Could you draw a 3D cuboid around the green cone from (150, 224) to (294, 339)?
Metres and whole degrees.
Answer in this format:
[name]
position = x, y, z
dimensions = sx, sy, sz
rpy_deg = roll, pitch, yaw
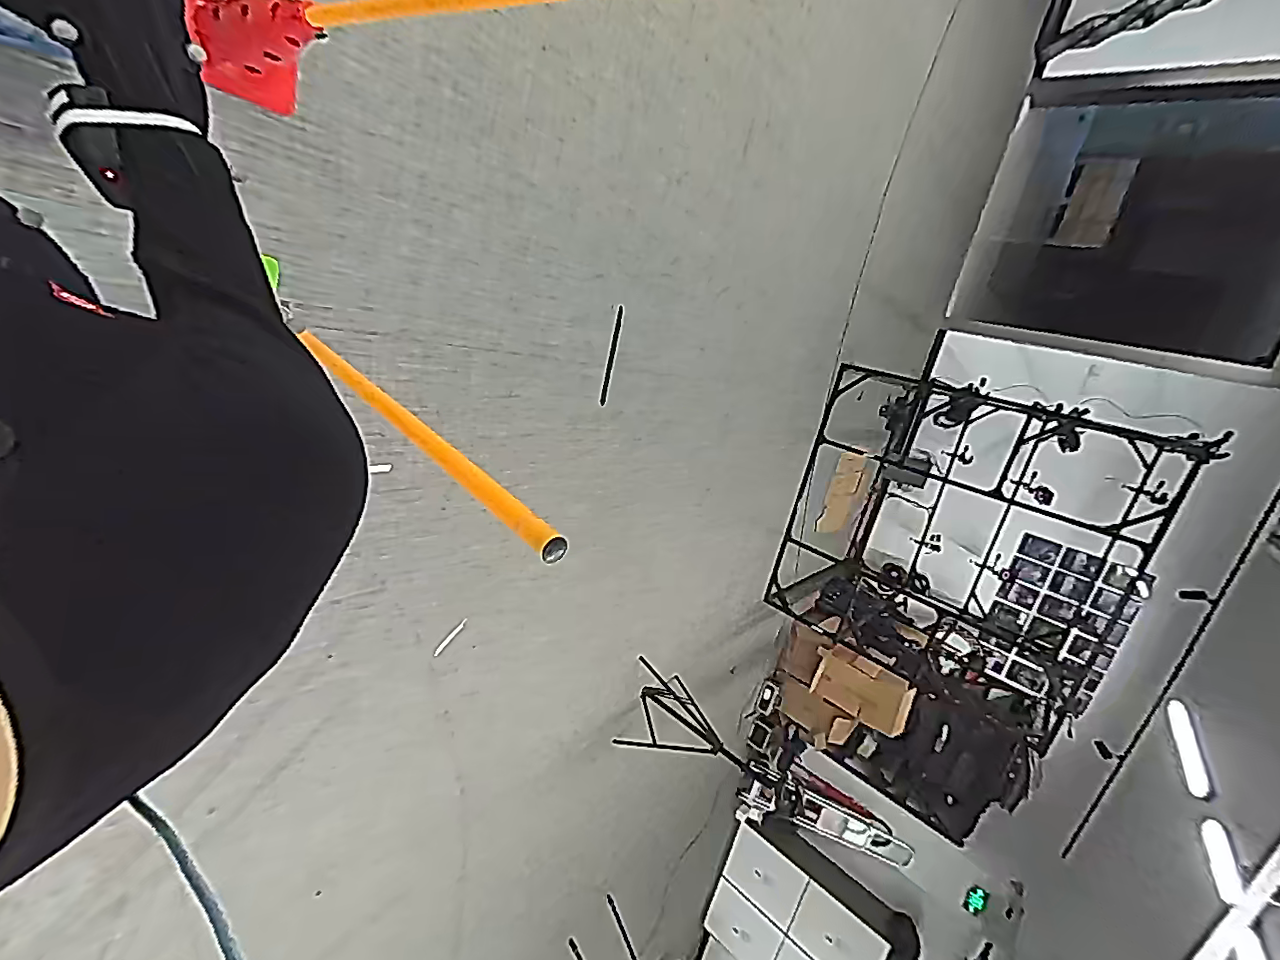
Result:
[green cone]
position = -0.778, -0.355, 1.059
dimensions = 0.202, 0.368, 0.200
rpy_deg = -1, 111, -54

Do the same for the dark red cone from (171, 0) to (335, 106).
[dark red cone]
position = -0.638, -0.804, 0.937
dimensions = 0.201, 0.394, 0.202
rpy_deg = -7, 116, -53
